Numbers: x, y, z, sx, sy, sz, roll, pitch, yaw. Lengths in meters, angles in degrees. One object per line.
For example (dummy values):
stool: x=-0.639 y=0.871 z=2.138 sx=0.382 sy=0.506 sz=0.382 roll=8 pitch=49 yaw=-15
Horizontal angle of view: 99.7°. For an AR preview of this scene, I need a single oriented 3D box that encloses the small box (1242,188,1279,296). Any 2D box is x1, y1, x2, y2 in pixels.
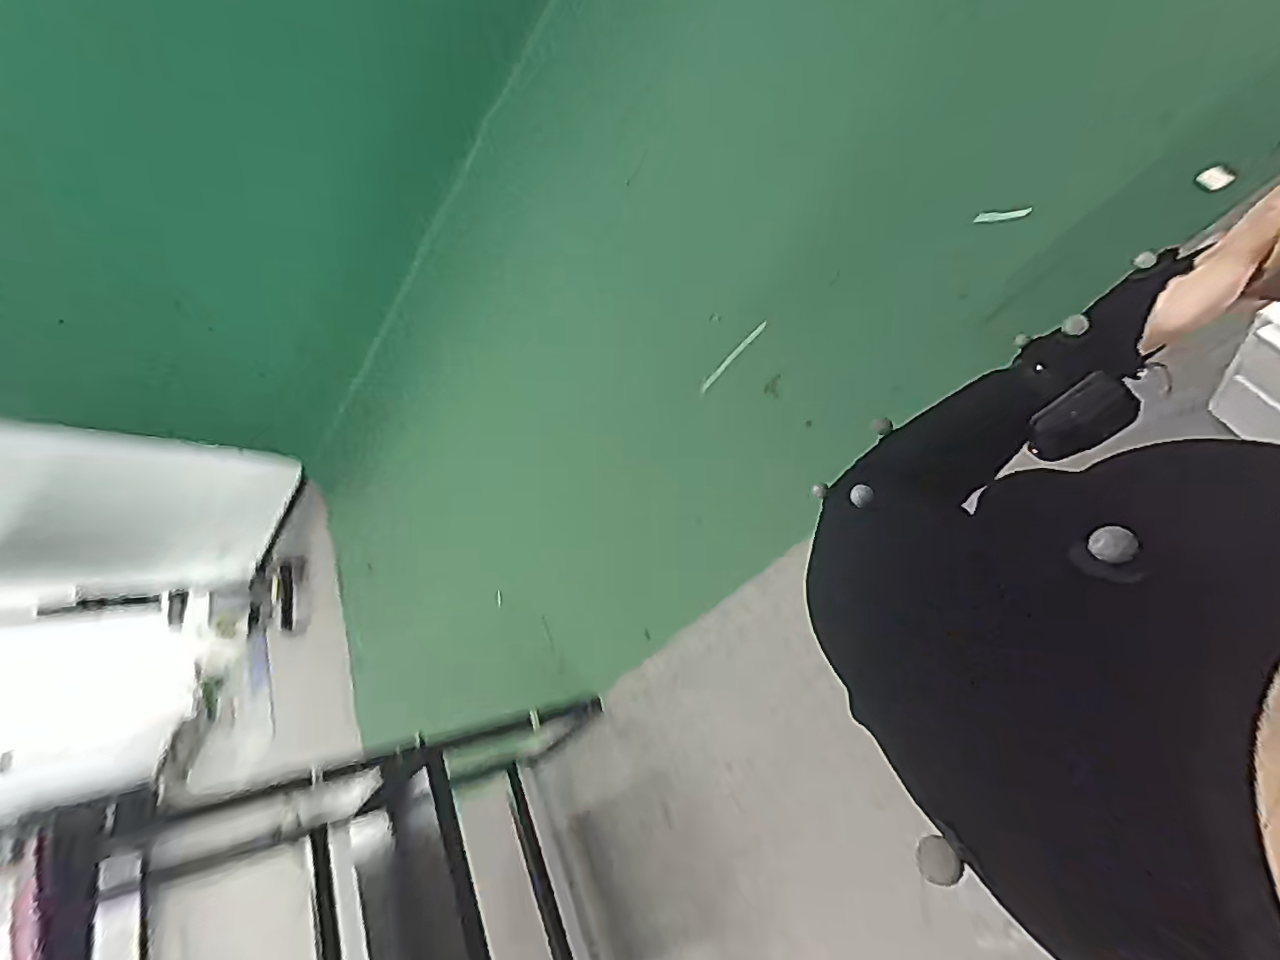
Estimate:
small box: x=0.488 y=-0.190 z=0.292 sx=0.179 sy=0.176 sz=0.168 roll=24 pitch=109 yaw=38
